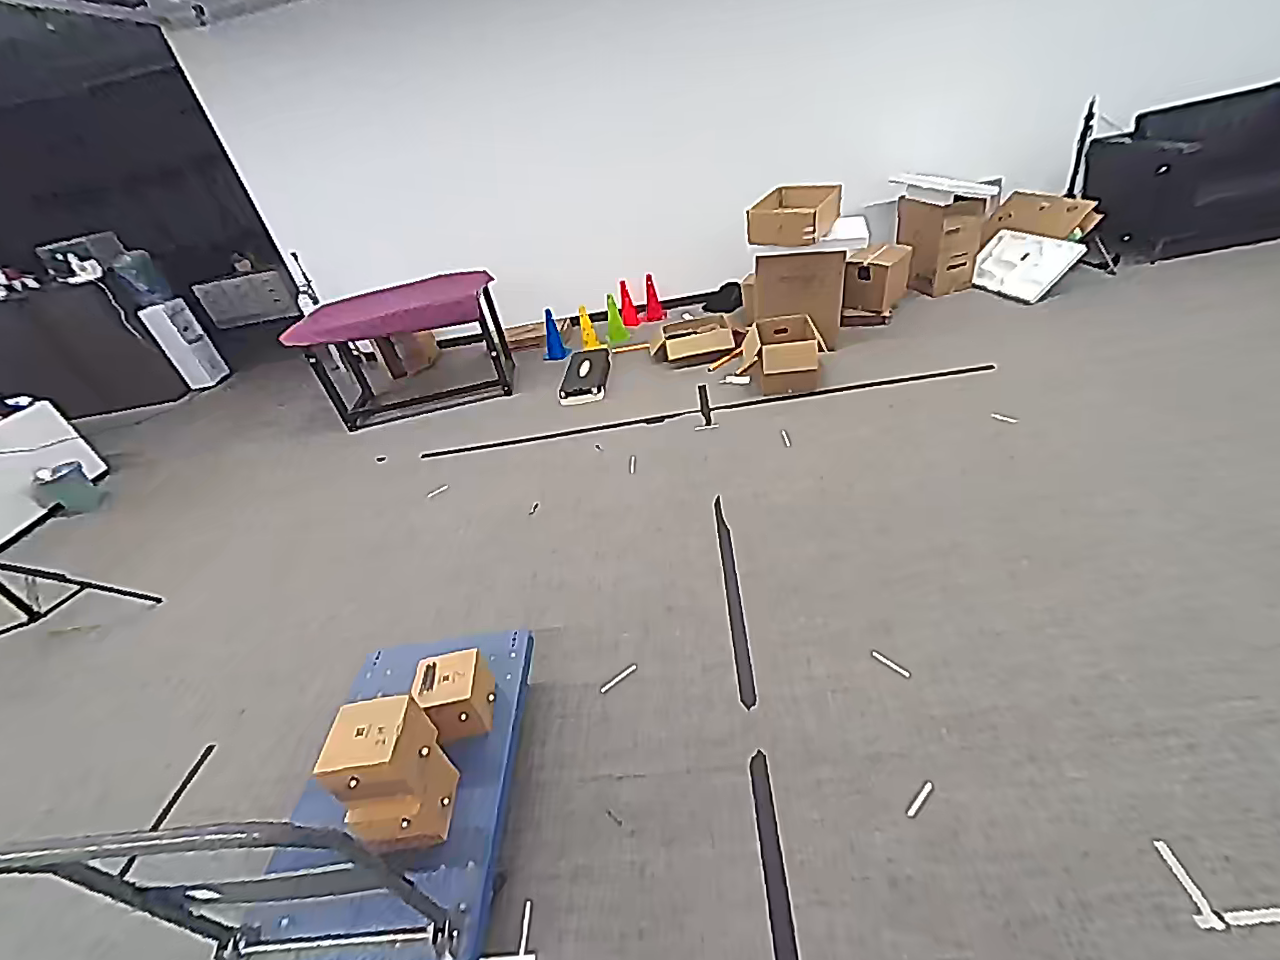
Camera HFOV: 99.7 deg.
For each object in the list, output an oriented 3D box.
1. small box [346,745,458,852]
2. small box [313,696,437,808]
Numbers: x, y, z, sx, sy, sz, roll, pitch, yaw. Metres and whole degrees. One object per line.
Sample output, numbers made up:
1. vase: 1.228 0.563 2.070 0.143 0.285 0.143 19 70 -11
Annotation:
1. small box: -0.574 0.781 1.327 0.179 0.176 0.168 -10 34 2
2. small box: -0.603 0.634 1.256 0.179 0.176 0.168 -10 35 2
